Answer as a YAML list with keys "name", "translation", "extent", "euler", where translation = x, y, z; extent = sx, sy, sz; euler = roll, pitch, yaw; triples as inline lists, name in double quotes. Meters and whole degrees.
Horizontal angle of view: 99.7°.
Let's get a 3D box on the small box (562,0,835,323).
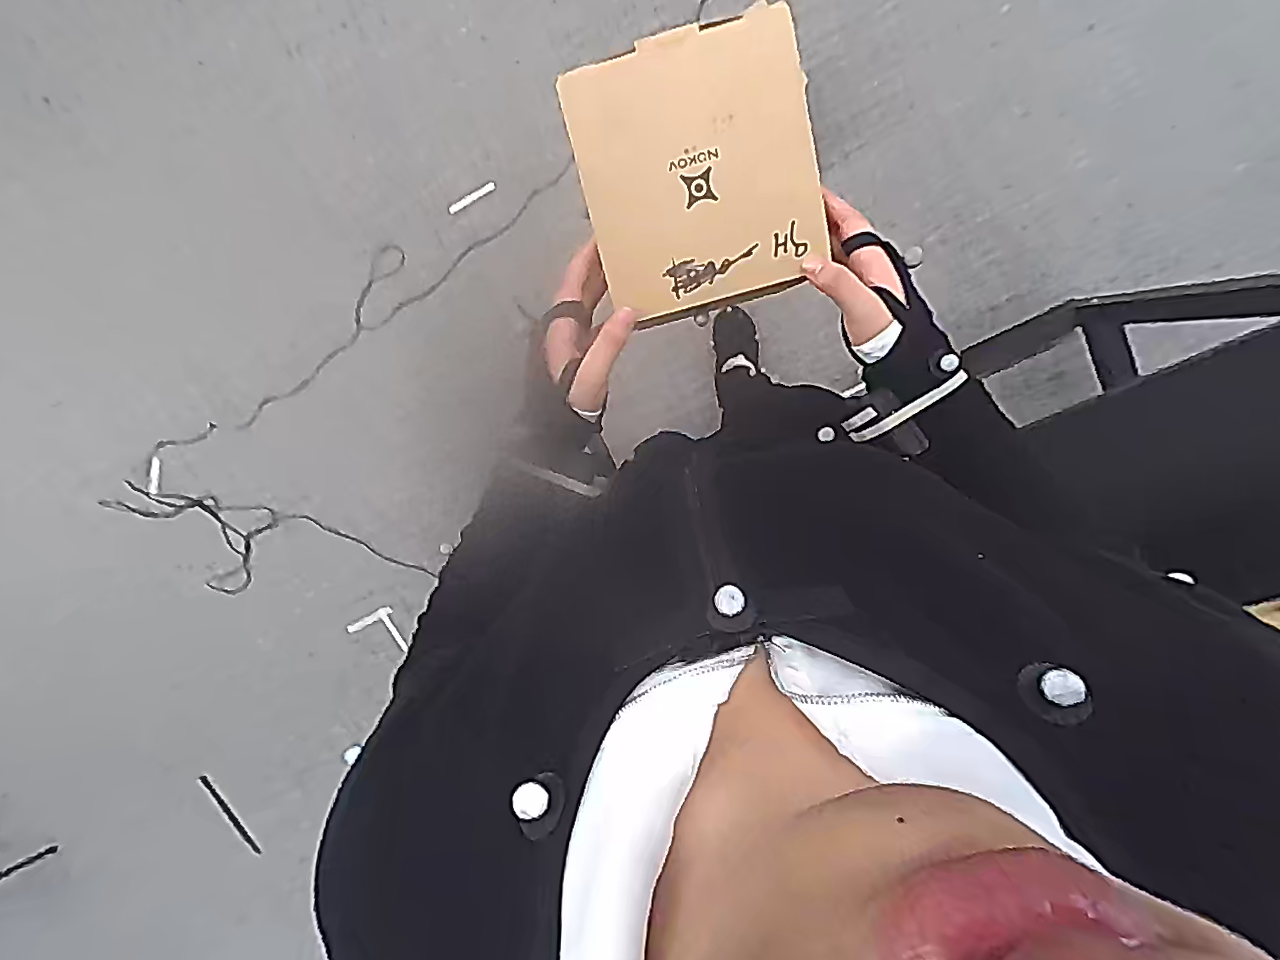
- name: "small box"
  translation: [0.047, -0.245, 0.462]
  extent: [0.168, 0.176, 0.179]
  euler: [-14, 102, 7]
